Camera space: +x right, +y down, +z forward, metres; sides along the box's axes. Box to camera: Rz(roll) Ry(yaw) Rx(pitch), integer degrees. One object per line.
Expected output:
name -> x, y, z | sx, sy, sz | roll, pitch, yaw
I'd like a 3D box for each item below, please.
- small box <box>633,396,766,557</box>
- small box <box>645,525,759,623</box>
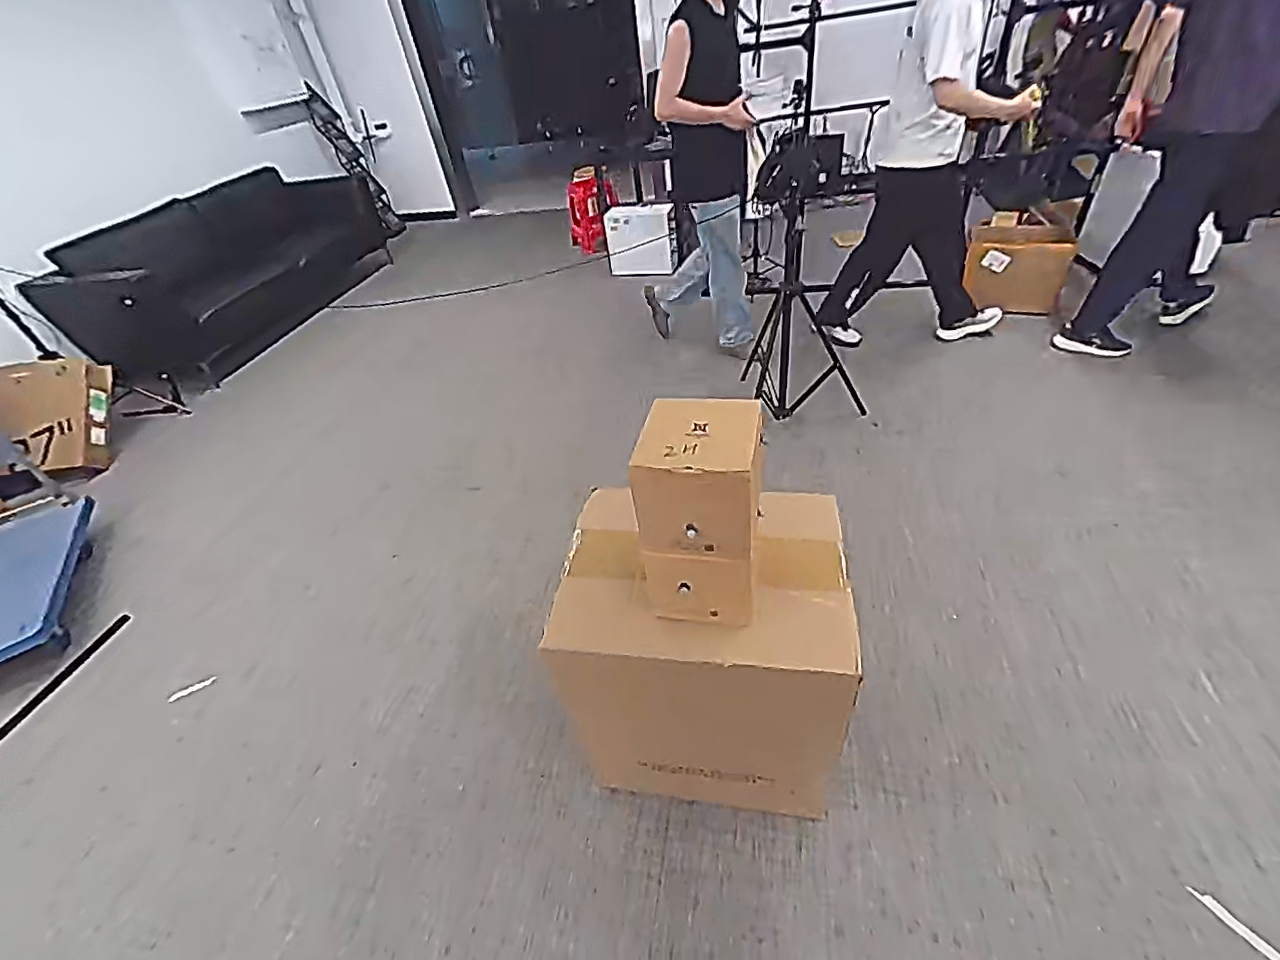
small box -> 0.098, -0.010, 0.814 | 0.168, 0.176, 0.179 | 3, 41, 16
small box -> 0.114, 0.121, 0.915 | 0.168, 0.176, 0.179 | 2, 40, 14
